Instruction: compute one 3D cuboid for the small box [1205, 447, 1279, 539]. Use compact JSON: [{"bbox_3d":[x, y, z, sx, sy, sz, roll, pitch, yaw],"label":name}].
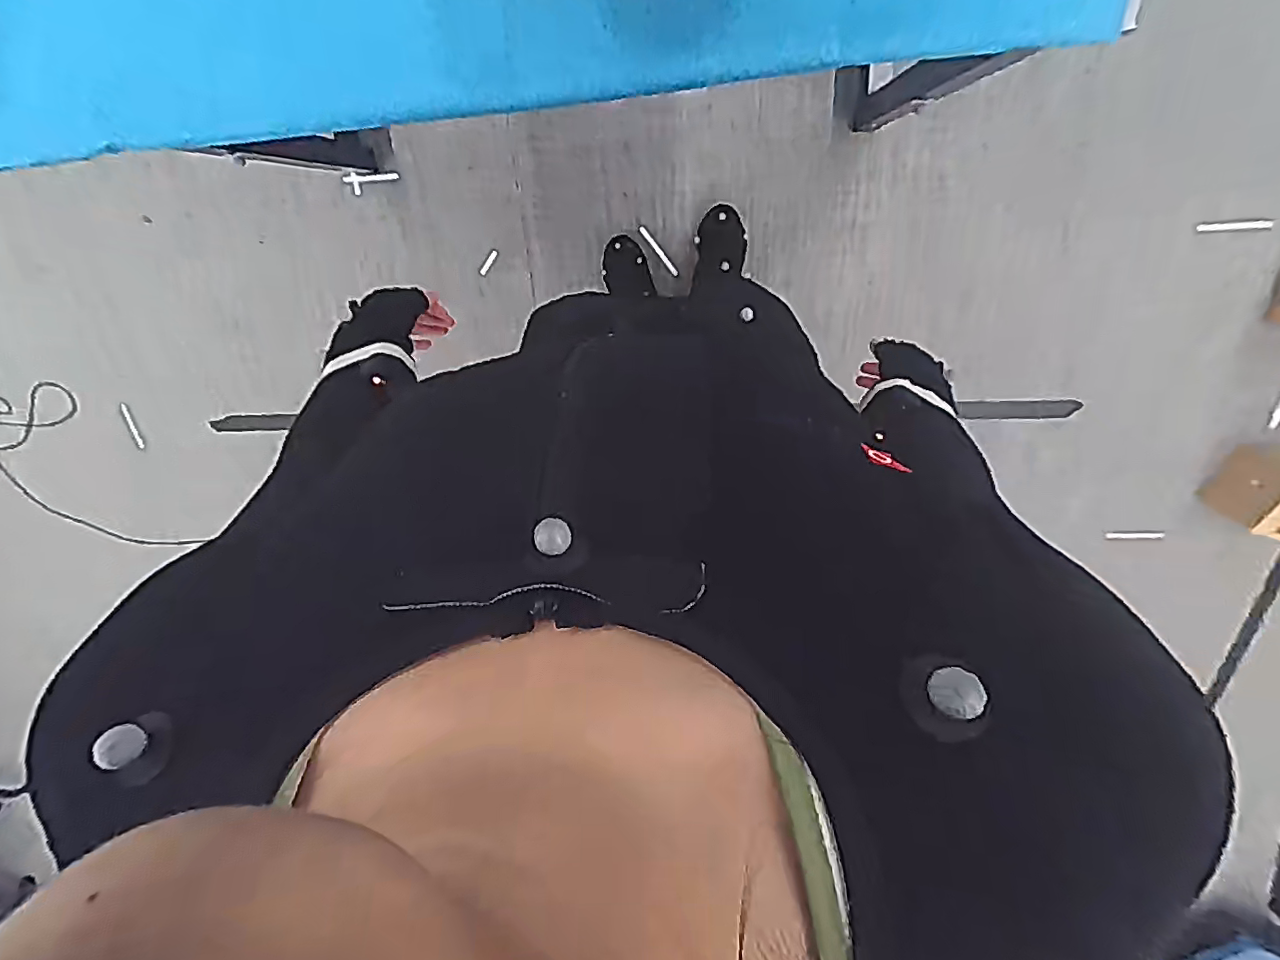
[{"bbox_3d":[1.612,0.037,1.361,0.168,0.176,0.179,13,118,-2],"label":"small box"}]
